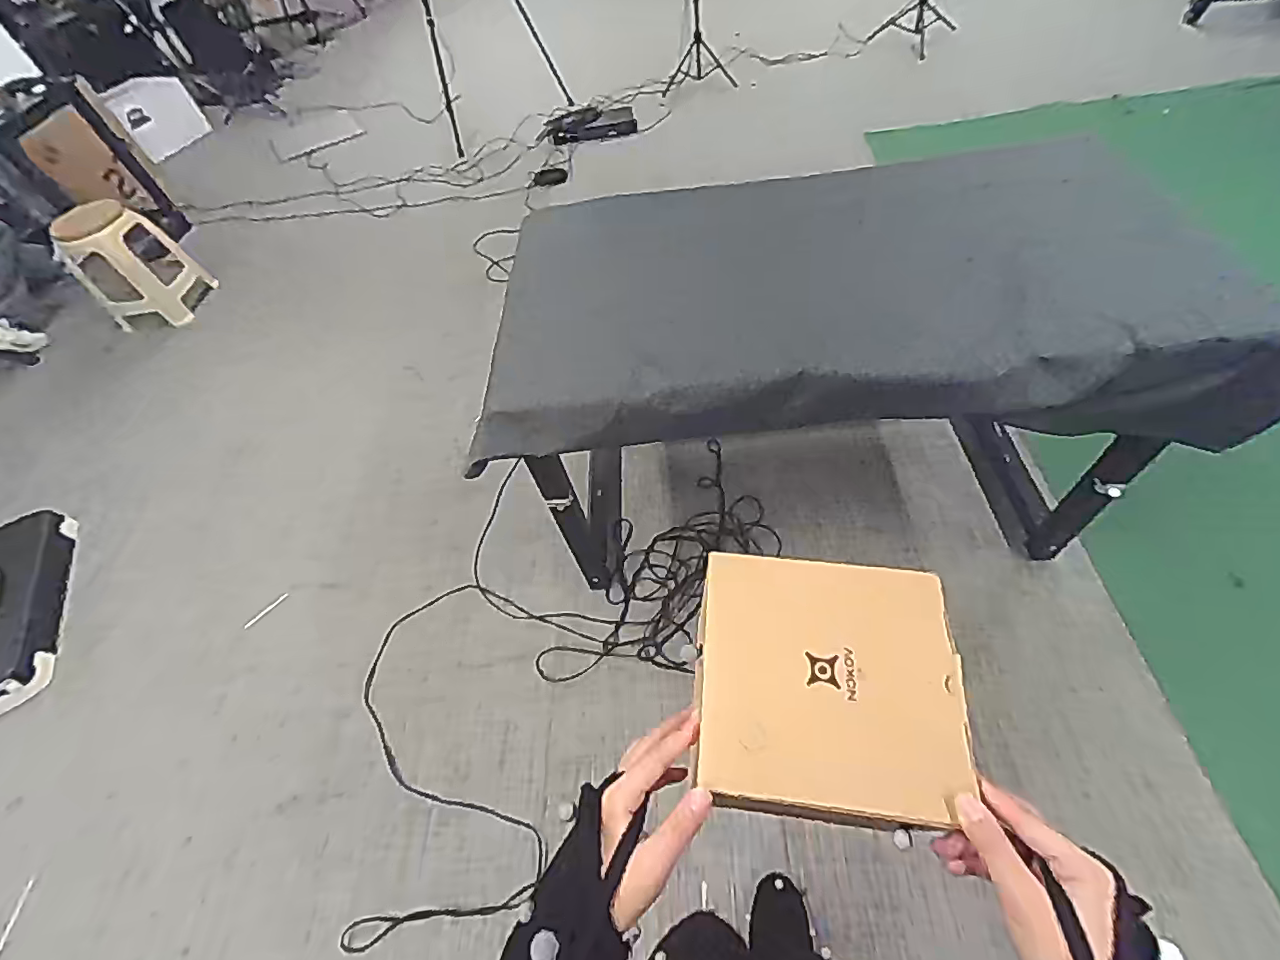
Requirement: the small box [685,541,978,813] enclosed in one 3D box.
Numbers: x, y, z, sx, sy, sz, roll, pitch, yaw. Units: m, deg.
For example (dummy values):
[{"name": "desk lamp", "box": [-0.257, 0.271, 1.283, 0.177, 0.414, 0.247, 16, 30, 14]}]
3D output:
[{"name": "small box", "box": [0.130, 0.166, 0.442, 0.179, 0.176, 0.168, 5, 58, 5]}]
